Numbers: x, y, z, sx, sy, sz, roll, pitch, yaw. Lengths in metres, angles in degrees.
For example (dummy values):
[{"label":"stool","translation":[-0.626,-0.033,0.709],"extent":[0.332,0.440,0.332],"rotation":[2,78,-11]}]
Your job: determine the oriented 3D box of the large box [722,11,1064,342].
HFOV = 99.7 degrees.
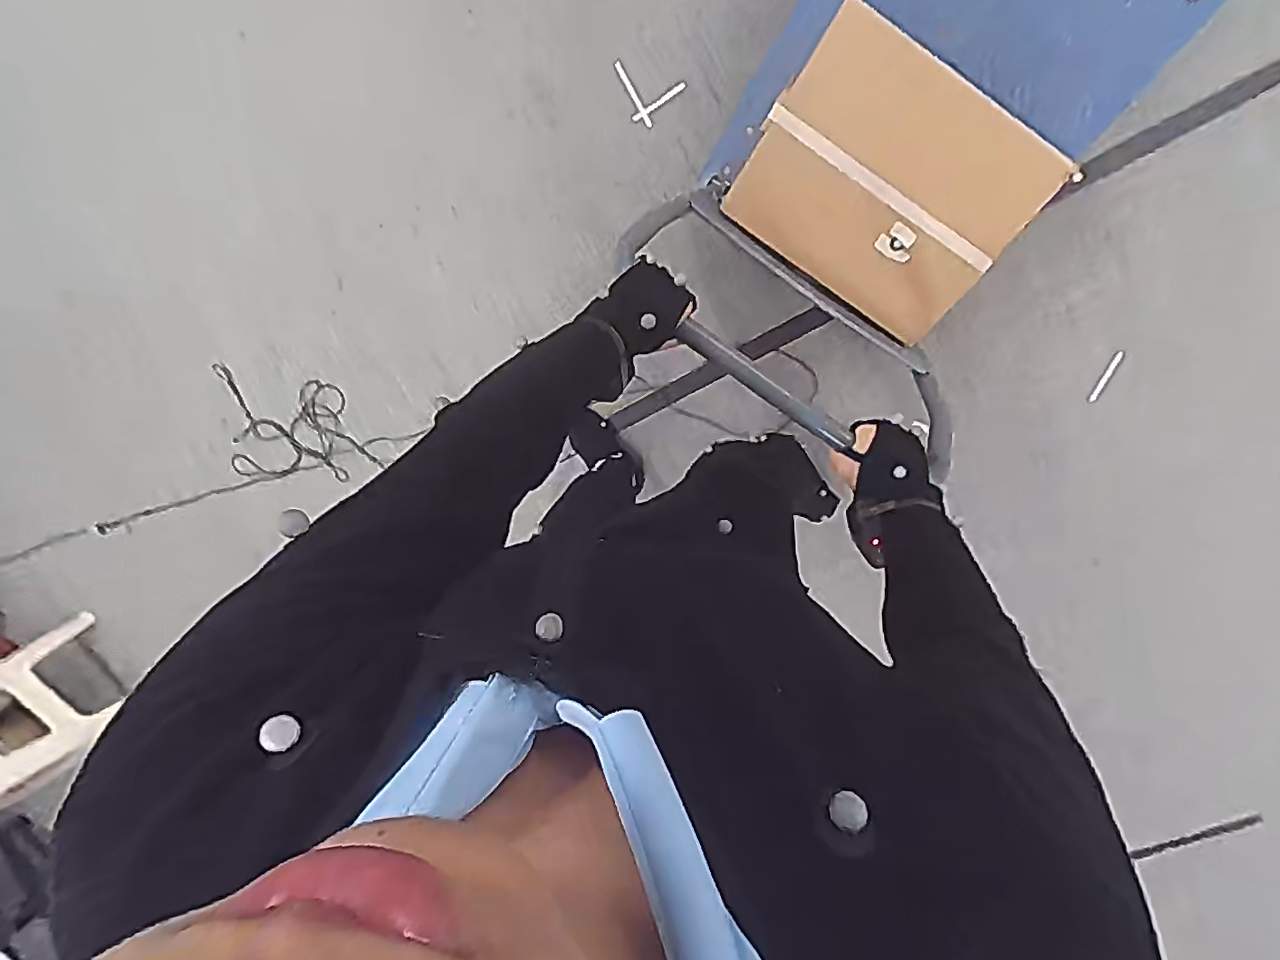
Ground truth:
[{"label":"large box","translation":[0.408,-0.517,0.971],"extent":[0.408,0.320,0.320],"rotation":[33,122,-4]}]
